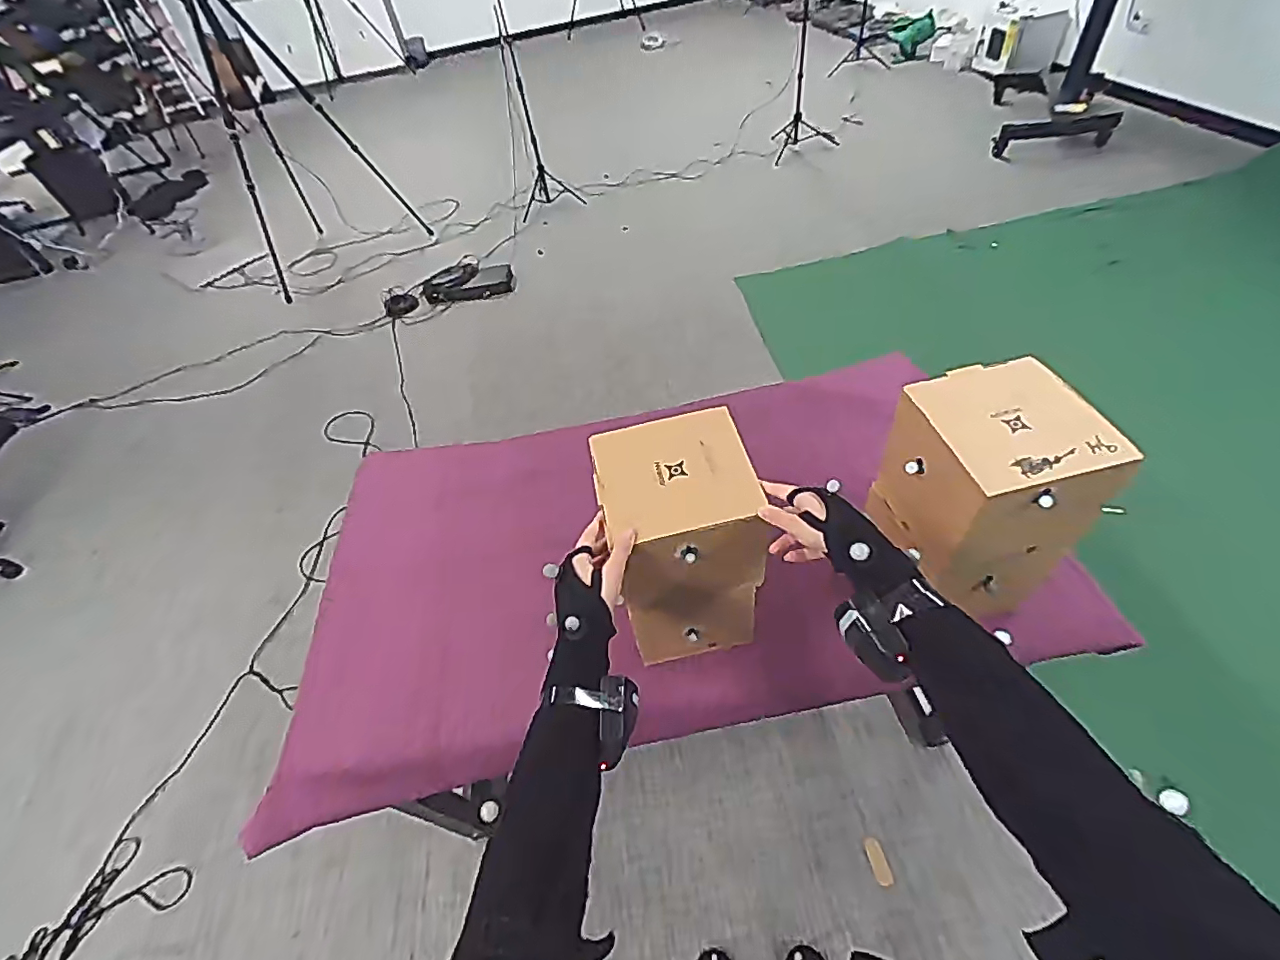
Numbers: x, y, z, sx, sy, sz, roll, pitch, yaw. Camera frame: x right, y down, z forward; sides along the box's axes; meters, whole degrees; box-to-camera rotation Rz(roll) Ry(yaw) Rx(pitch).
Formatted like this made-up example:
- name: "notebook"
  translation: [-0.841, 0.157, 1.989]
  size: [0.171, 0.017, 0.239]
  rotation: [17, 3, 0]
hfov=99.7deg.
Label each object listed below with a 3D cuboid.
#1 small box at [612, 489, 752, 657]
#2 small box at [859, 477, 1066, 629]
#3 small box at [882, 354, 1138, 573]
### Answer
- name: "small box"
  translation: [0.064, 0.145, 0.801]
  size: [0.168, 0.176, 0.179]
  rotation: [-13, 49, 0]
- name: "small box"
  translation: [0.439, 0.089, 0.773]
  size: [0.179, 0.176, 0.168]
  rotation: [-15, 50, 0]
- name: "small box"
  translation: [0.415, -0.017, 0.650]
  size: [0.168, 0.176, 0.179]
  rotation: [-16, 49, 1]
